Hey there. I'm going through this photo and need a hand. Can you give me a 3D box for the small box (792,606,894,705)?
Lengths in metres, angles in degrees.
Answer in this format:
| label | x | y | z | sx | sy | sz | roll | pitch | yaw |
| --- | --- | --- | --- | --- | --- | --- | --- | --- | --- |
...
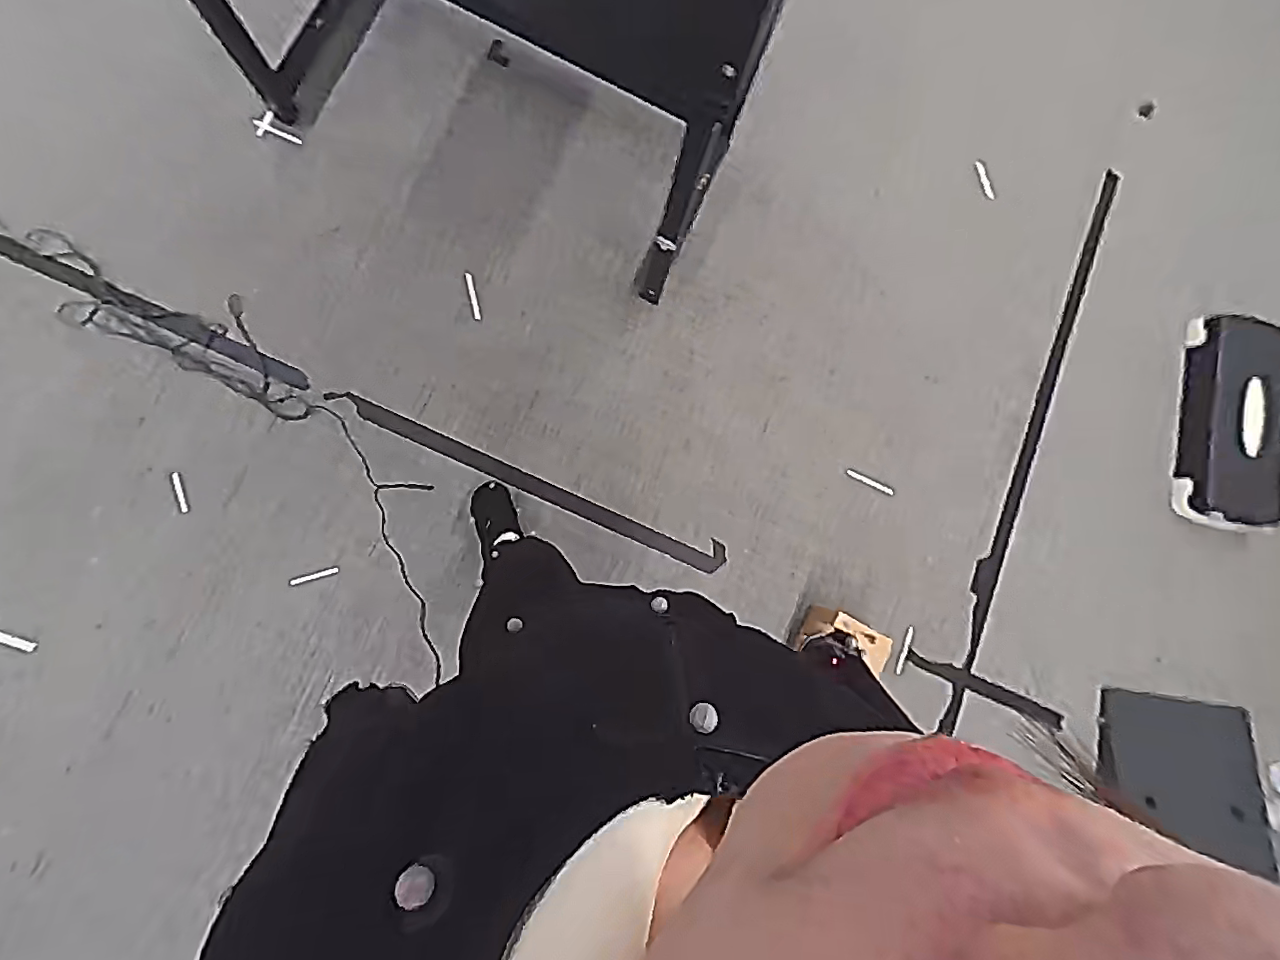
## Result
| label | x | y | z | sx | sy | sz | roll | pitch | yaw |
| --- | --- | --- | --- | --- | --- | --- | --- | --- | --- |
| small box | 0.533 | 0.461 | 1.450 | 0.168 | 0.176 | 0.179 | 29 | 83 | -3 |
